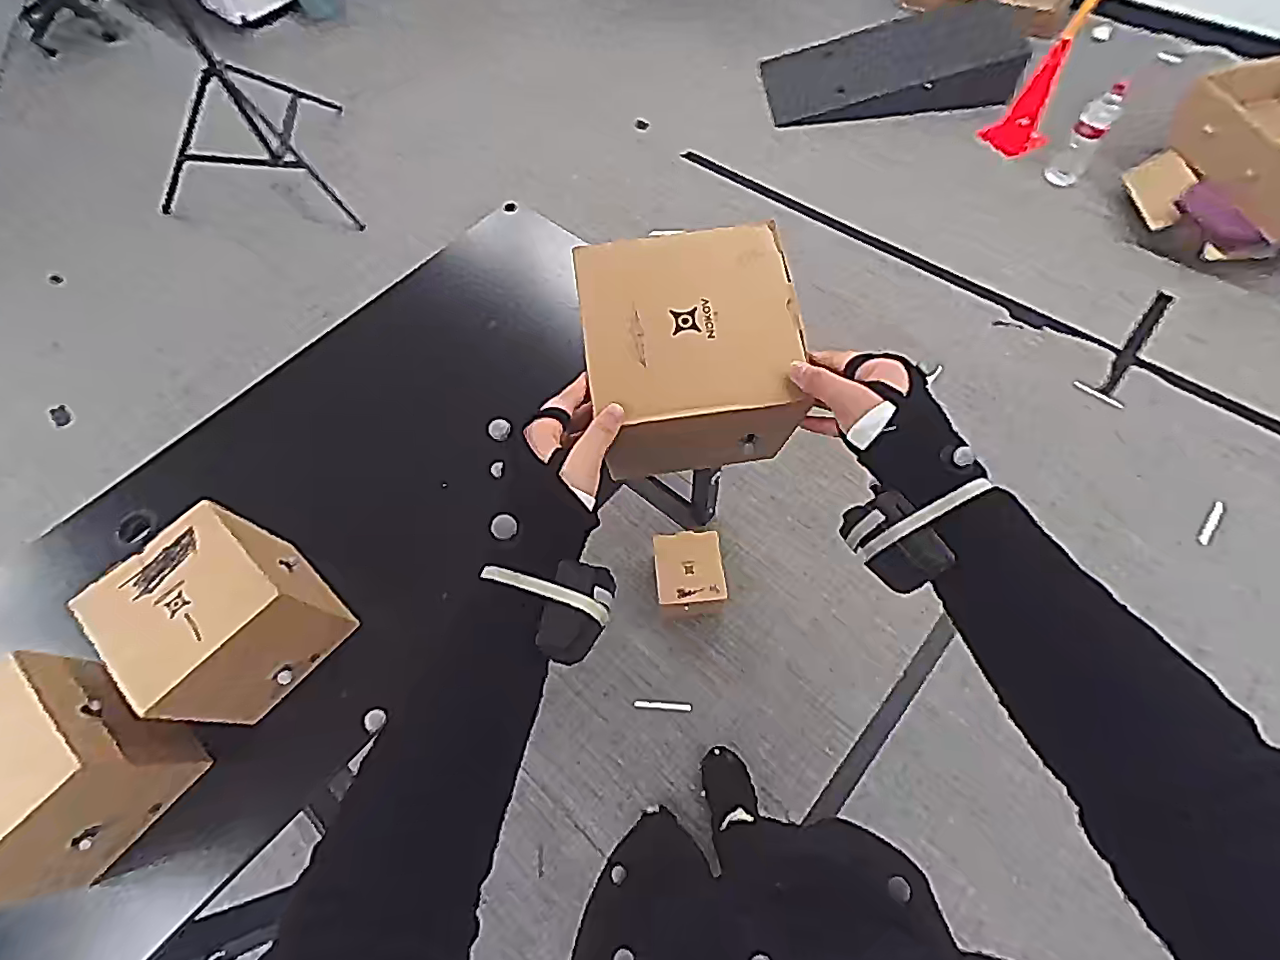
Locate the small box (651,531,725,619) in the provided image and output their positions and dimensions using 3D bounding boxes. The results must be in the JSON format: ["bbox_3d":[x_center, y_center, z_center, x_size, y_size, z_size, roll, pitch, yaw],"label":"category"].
[{"bbox_3d":[0.118,0.247,1.389,0.168,0.176,0.179,-6,64,1],"label":"small box"}]

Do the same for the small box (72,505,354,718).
[{"bbox_3d":[-0.496,0.167,0.655,0.179,0.176,0.168,37,72,19],"label":"small box"}]

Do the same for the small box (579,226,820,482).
[{"bbox_3d":[0.047,-0.104,0.511,0.179,0.176,0.168,-9,75,1],"label":"small box"}]
